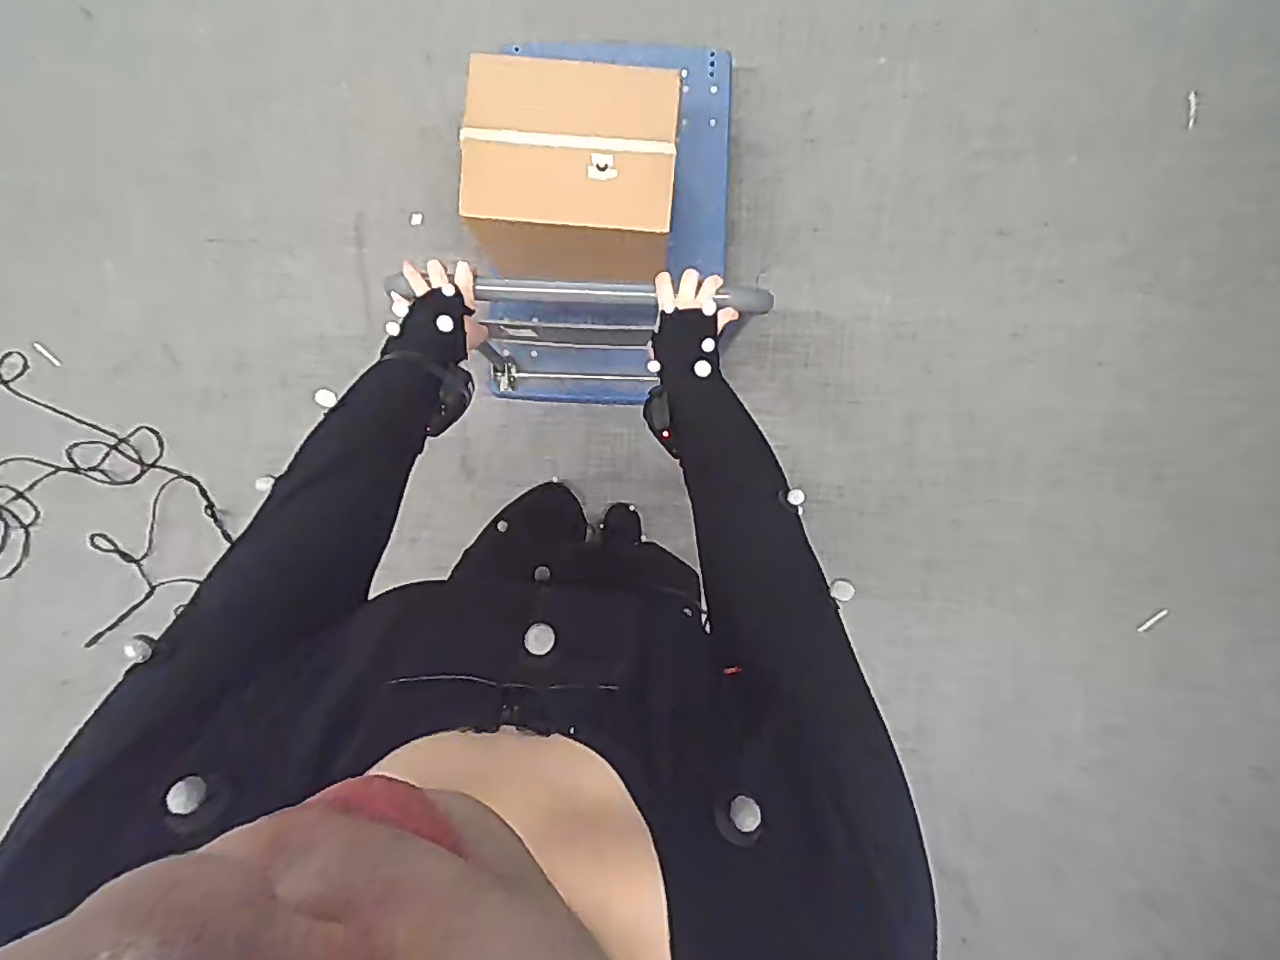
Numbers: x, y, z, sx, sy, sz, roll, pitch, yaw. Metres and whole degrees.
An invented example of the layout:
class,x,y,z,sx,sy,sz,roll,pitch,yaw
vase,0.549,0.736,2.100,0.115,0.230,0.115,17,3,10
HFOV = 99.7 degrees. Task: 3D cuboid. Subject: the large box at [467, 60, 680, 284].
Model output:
class,x,y,z,sx,sy,sz,roll,pitch,yaw
large box,-0.134,-0.648,1.193,0.408,0.320,0.320,4,90,-1
